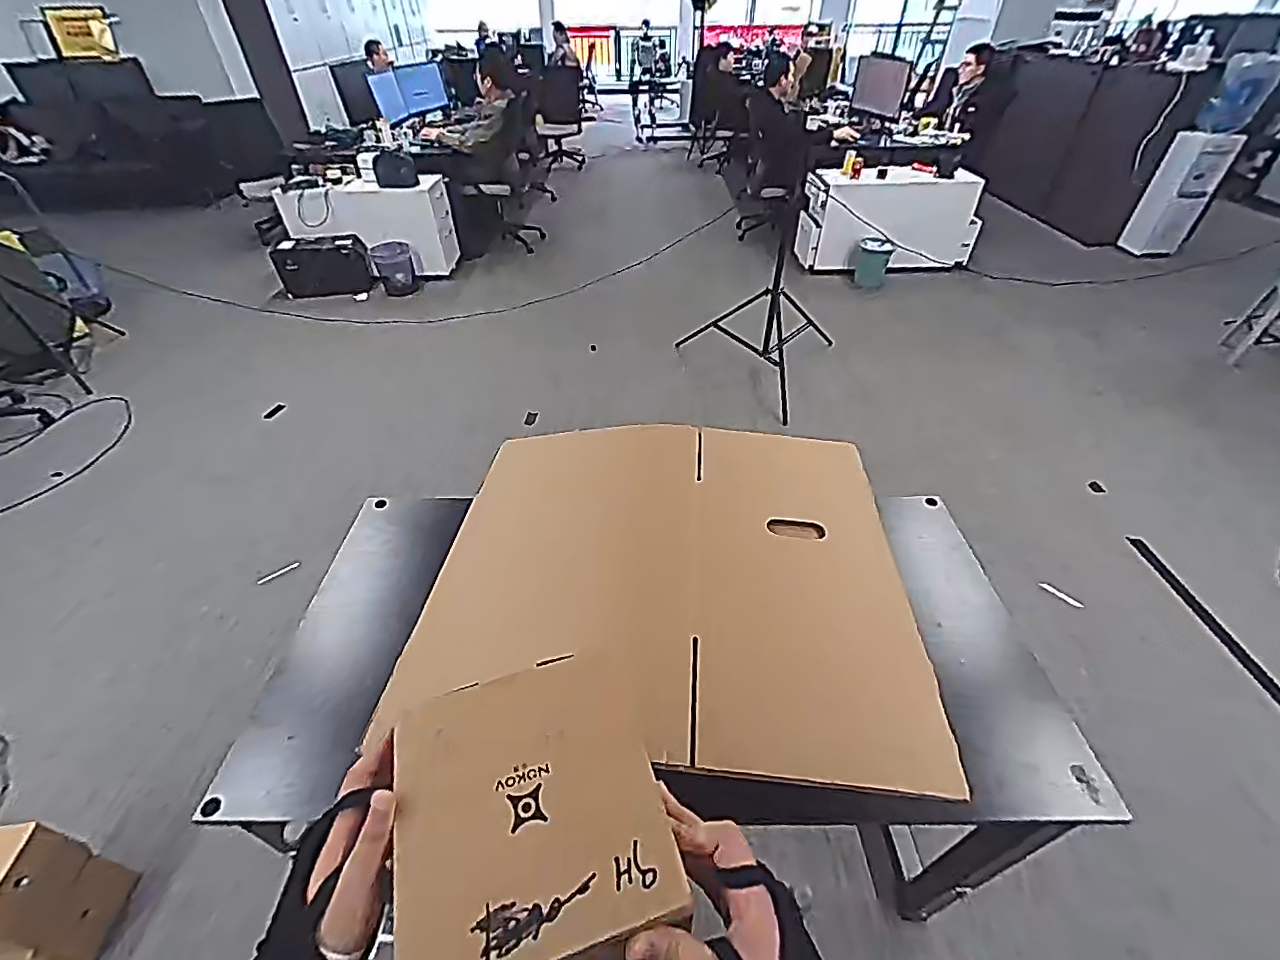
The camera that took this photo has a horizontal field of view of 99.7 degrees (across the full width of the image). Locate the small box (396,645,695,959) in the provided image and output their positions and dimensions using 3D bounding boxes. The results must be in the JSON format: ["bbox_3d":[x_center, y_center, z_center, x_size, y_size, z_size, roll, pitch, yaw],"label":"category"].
[{"bbox_3d":[-0.067,0.261,0.404,0.168,0.176,0.179,-14,43,-11],"label":"small box"}]

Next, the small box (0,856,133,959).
[{"bbox_3d":[-1.238,0.923,1.140,0.168,0.176,0.179,-3,42,-2],"label":"small box"}]

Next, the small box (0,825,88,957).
[{"bbox_3d":[-1.242,0.798,1.037,0.168,0.176,0.179,-5,40,-6],"label":"small box"}]
